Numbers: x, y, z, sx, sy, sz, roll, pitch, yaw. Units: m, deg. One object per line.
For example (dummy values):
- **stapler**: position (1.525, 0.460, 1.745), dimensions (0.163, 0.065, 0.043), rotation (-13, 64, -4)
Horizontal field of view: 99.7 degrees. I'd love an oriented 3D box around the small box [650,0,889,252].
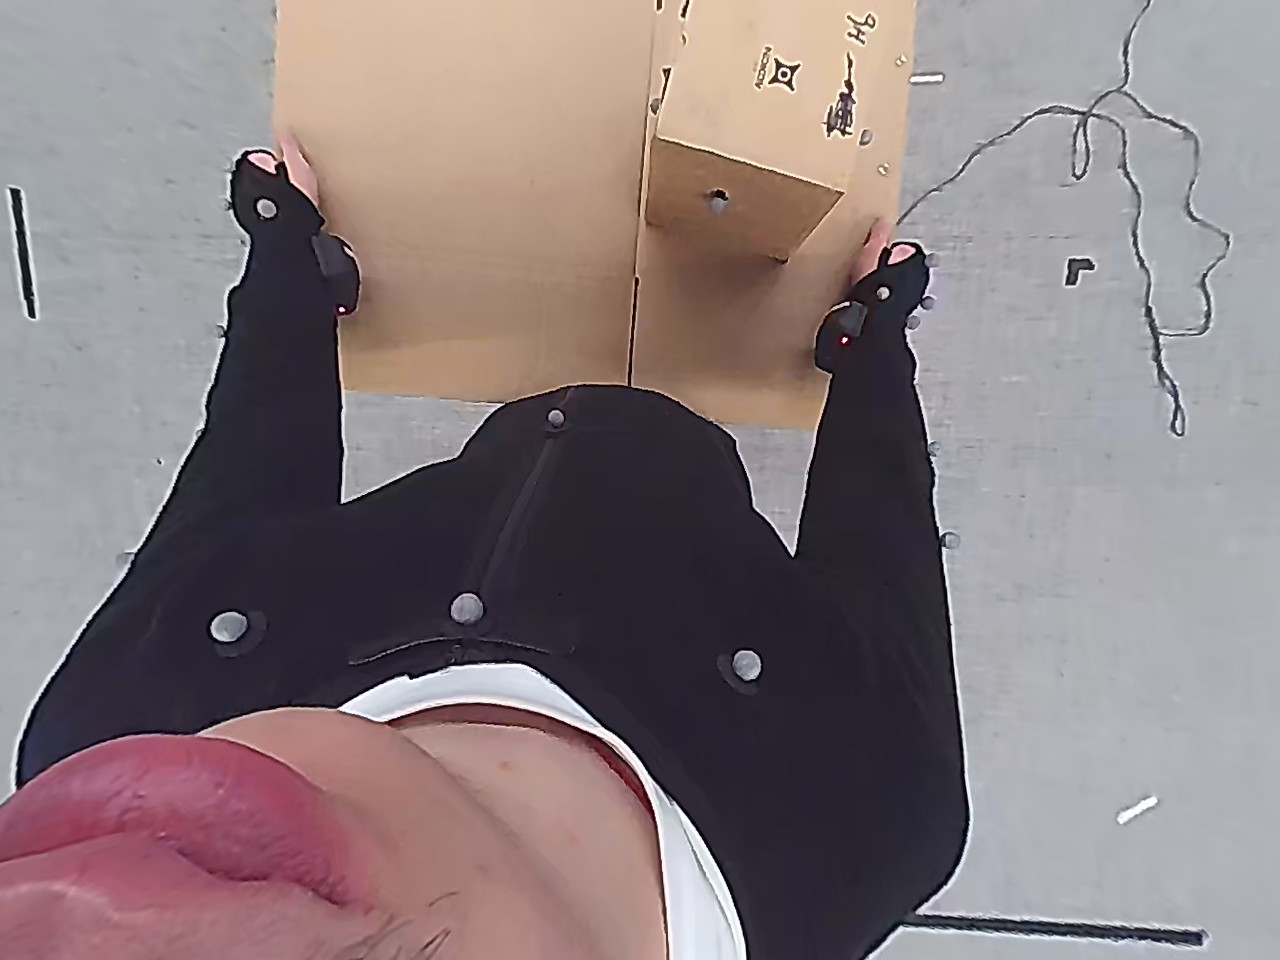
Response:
- **small box**: position (0.112, -0.356, 0.550), dimensions (0.179, 0.176, 0.168), rotation (15, 92, -2)
